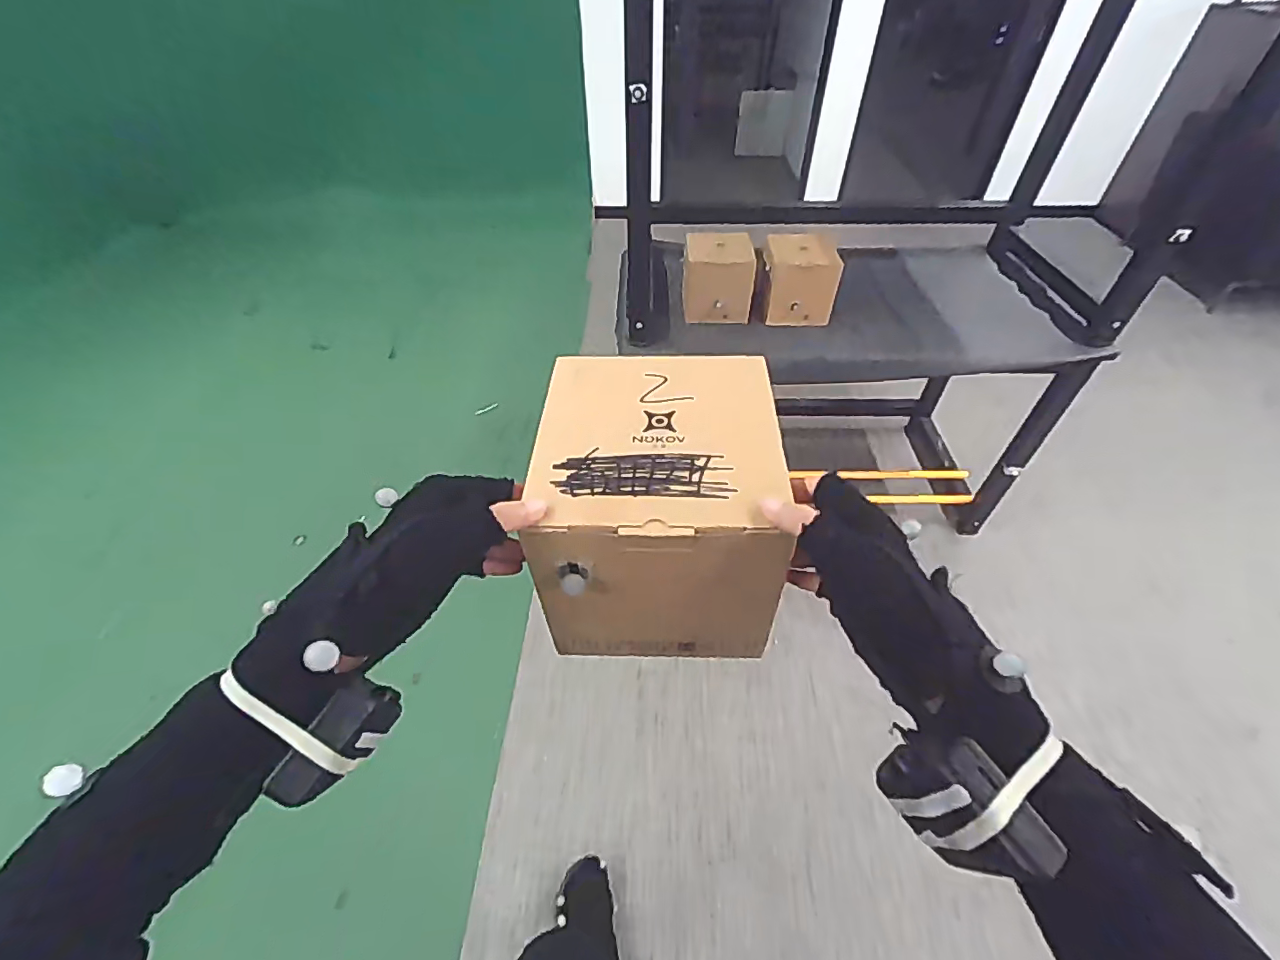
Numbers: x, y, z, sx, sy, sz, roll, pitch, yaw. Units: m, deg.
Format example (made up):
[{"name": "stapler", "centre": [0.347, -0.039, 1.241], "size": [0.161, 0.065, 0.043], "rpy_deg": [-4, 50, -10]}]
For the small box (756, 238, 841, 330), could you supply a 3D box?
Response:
[{"name": "small box", "centre": [0.406, -0.514, 1.418], "size": [0.168, 0.176, 0.179], "rpy_deg": [1, 46, 1]}]

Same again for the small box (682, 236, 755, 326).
[{"name": "small box", "centre": [0.199, -0.524, 1.423], "size": [0.168, 0.176, 0.179], "rpy_deg": [0, 46, 1]}]
